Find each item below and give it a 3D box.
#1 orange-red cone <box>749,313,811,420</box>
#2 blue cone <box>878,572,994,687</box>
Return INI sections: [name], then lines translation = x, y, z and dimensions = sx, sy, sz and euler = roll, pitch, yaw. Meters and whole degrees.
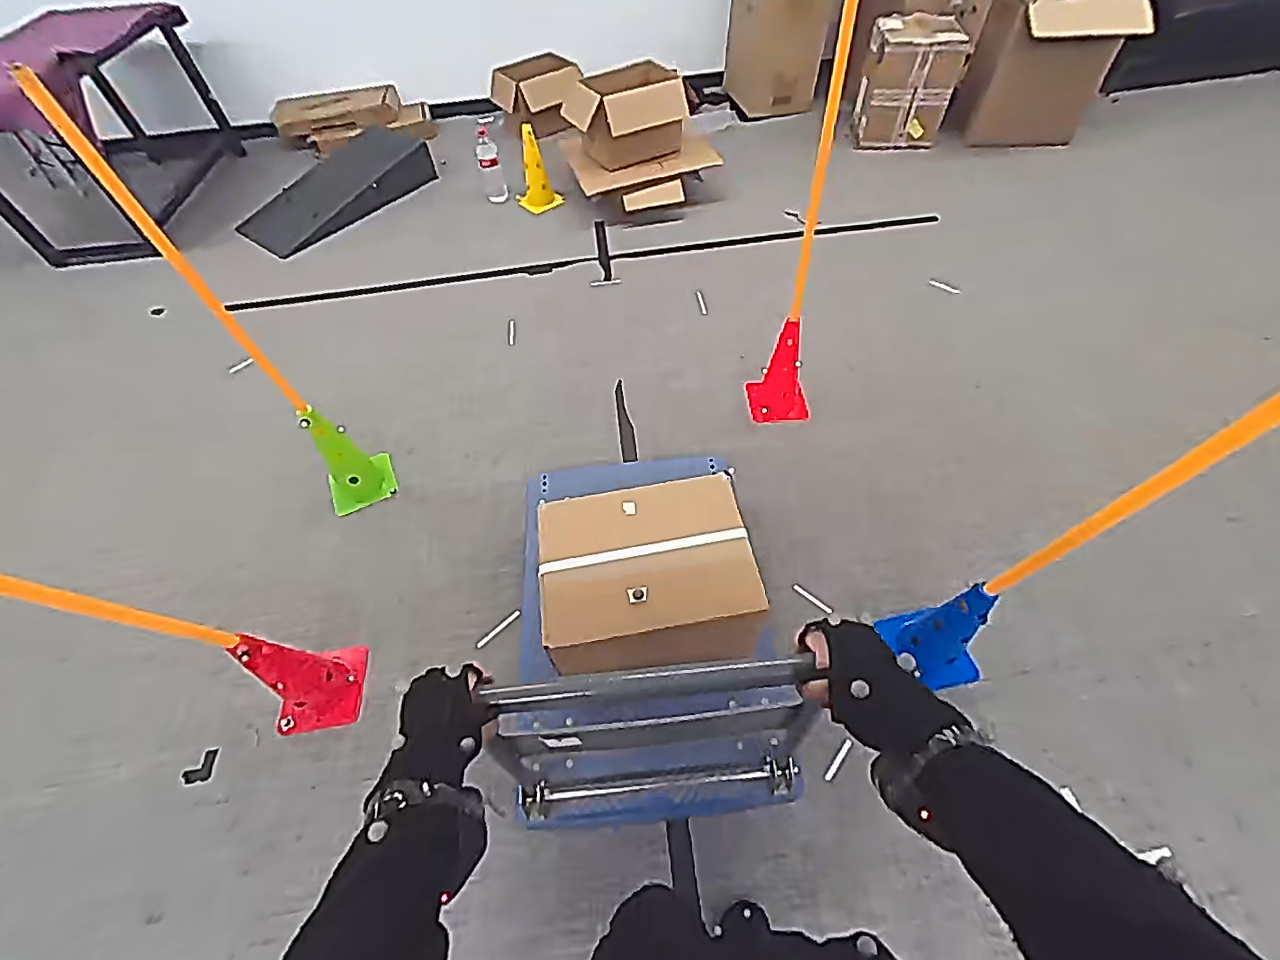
[orange-red cone]
translation = 0.482, -0.387, 1.764
dimensions = 0.199, 0.360, 0.198
euler = -2, 54, 1
[blue cone]
translation = 0.718, 0.324, 1.246
dimensions = 0.193, 0.380, 0.192
euler = -11, 53, -4
